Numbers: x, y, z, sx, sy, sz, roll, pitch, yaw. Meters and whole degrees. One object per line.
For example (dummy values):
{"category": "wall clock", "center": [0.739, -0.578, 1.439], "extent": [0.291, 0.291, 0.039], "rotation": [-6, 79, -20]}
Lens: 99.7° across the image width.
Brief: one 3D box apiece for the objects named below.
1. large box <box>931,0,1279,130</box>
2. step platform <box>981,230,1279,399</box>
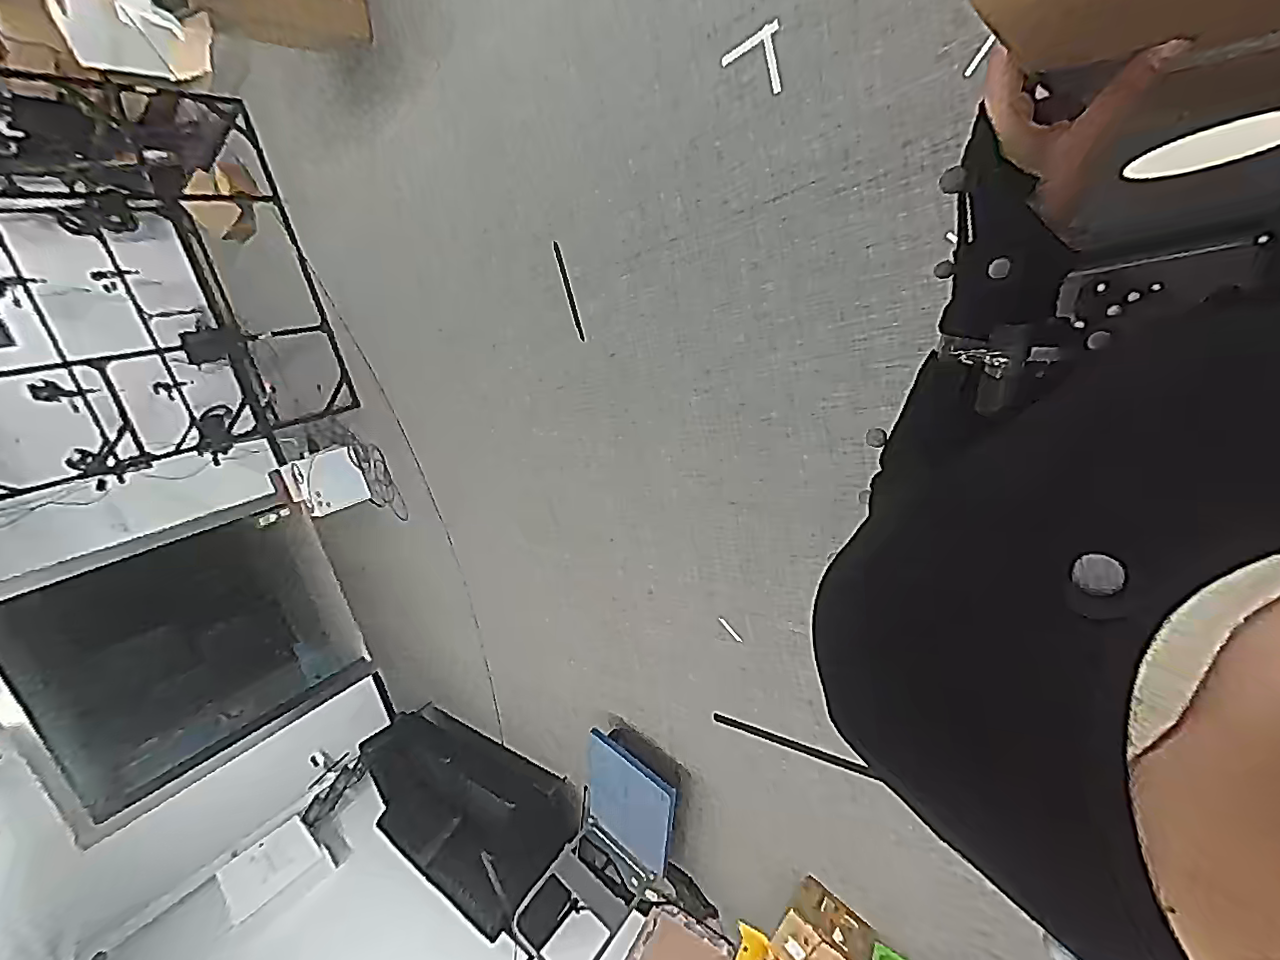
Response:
{"category": "large box", "center": [0.362, -0.343, 0.144], "extent": [0.408, 0.320, 0.320], "rotation": [17, 117, 45]}
{"category": "step platform", "center": [1.051, -0.309, 1.027], "extent": [0.684, 0.204, 0.286], "rotation": [8, 116, 42]}
